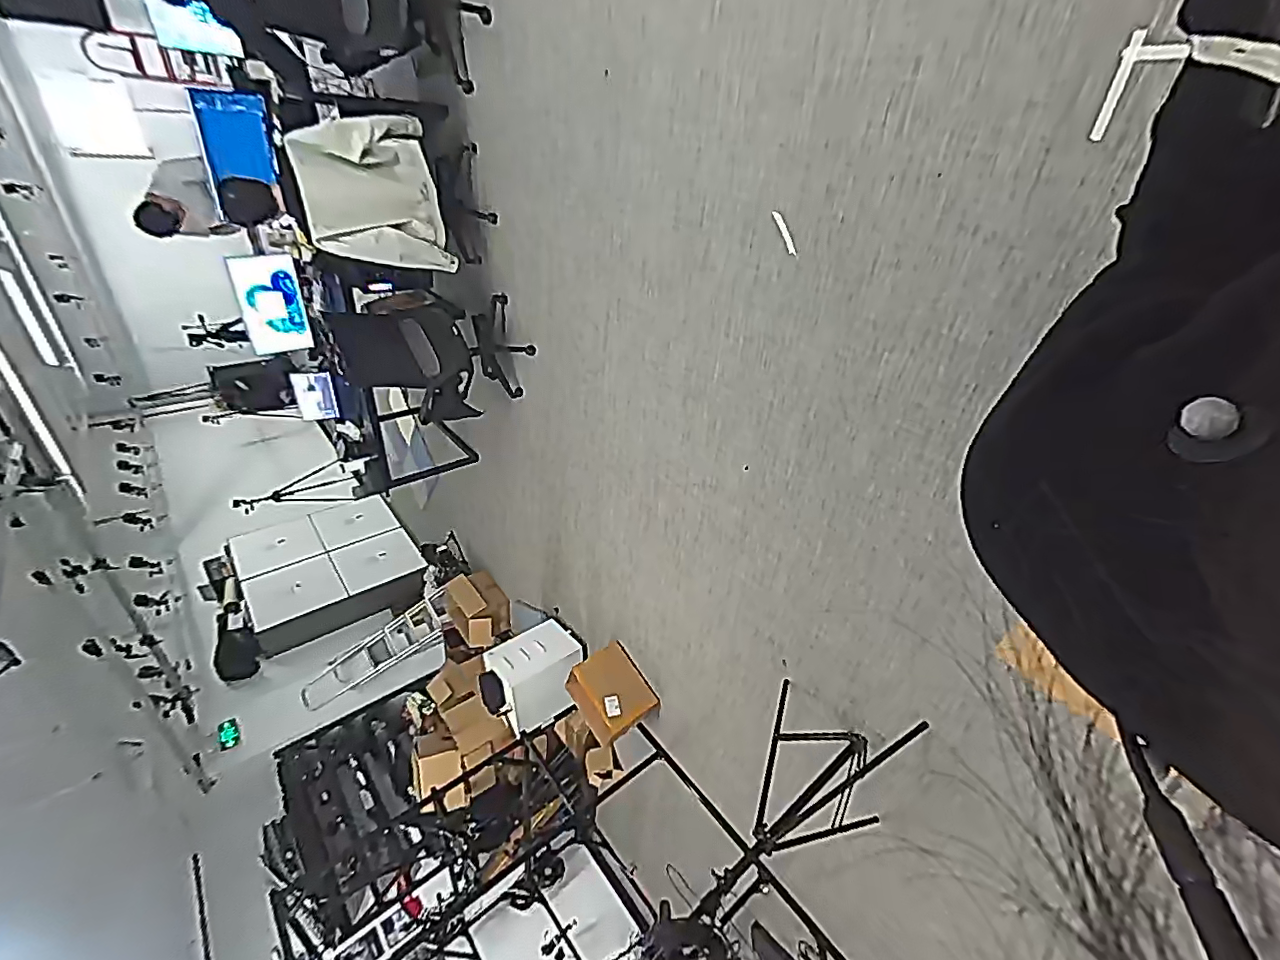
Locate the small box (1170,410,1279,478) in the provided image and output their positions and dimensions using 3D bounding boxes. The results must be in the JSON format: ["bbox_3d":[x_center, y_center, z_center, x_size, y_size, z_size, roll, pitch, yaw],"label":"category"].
[{"bbox_3d":[0.759,0.029,0.711,0.168,0.176,0.179,41,137,34],"label":"small box"}]

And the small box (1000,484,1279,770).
[{"bbox_3d":[0.507,0.129,0.531,0.168,0.176,0.179,39,138,37],"label":"small box"}]
